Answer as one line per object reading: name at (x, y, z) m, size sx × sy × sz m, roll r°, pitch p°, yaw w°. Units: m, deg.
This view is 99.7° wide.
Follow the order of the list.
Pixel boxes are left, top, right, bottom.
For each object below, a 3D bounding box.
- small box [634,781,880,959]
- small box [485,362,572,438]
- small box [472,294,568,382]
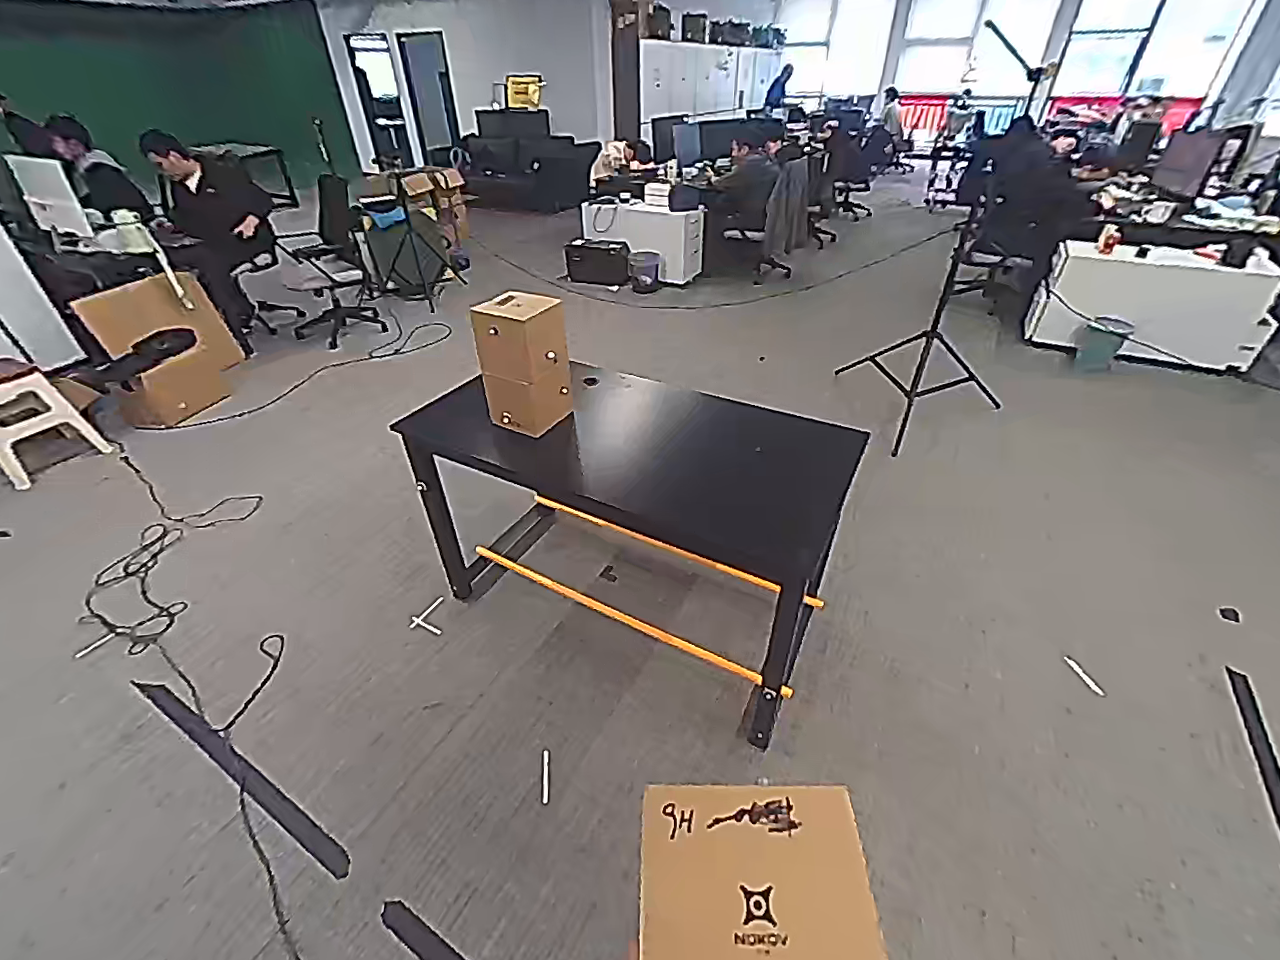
small box at (0.085, 0.363, 0.431) m, size 0.168 × 0.176 × 0.179 m, roll -2°, pitch 43°, yaw 4°
small box at (-0.306, -0.242, 1.522) m, size 0.168 × 0.176 × 0.179 m, roll 17°, pitch 41°, yaw 24°
small box at (-0.309, -0.373, 1.422) m, size 0.179 × 0.176 × 0.168 m, roll 17°, pitch 40°, yaw 23°
